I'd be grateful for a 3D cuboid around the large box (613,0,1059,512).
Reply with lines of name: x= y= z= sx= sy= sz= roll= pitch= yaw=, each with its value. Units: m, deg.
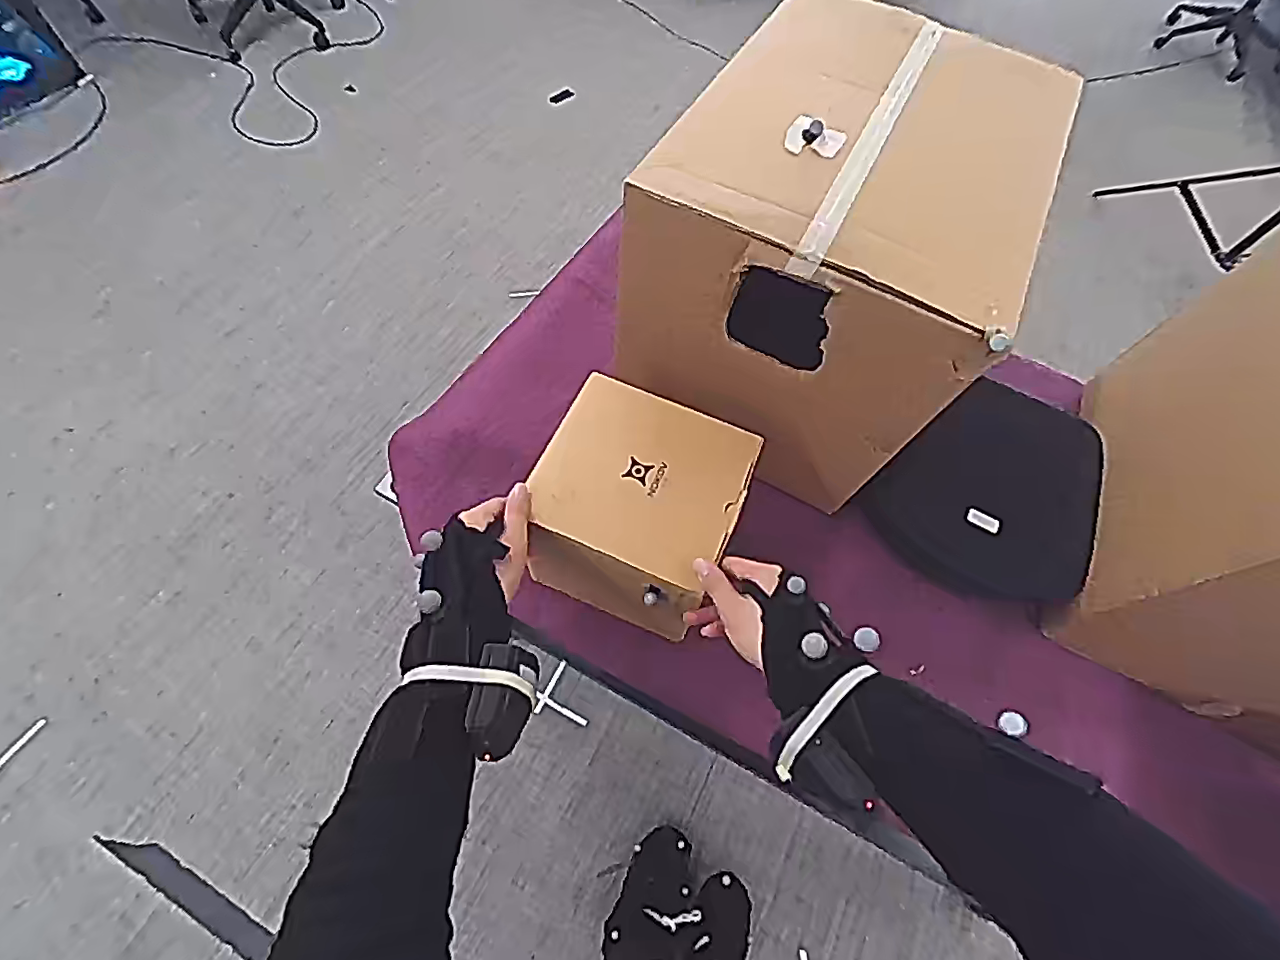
large box: x=0.195 y=-0.241 z=0.627 sx=0.320 sy=0.320 sz=0.408 roll=26 pitch=66 yaw=9
